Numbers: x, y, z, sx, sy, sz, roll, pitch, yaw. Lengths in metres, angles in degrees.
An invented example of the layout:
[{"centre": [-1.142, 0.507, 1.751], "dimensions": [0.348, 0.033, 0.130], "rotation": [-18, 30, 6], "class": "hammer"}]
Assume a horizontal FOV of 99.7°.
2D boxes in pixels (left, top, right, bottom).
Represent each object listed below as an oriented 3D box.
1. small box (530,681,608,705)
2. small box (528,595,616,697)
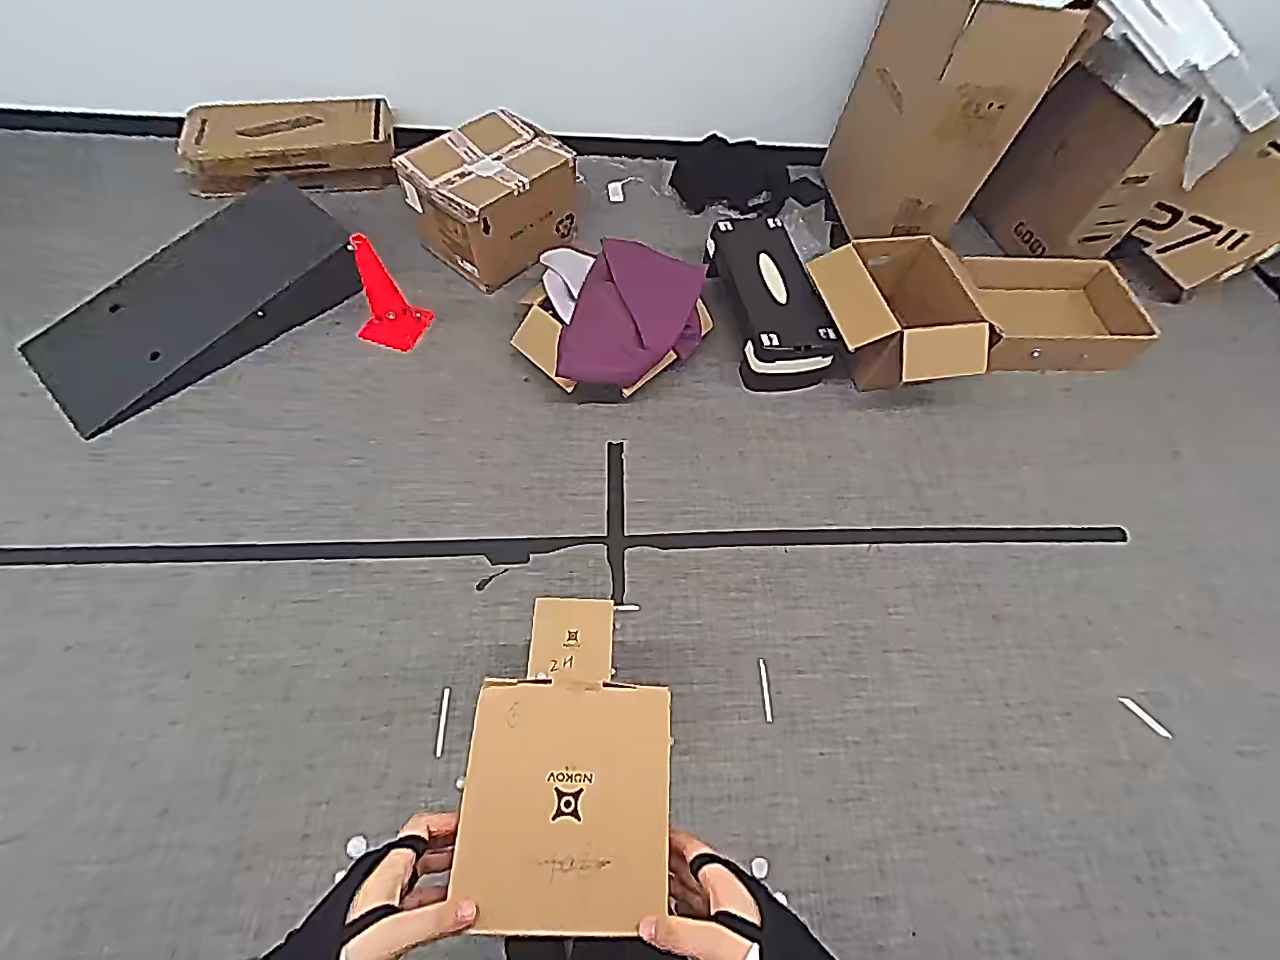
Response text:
[{"centre": [-0.161, 0.443, 1.301], "dimensions": [0.179, 0.176, 0.168], "rotation": [3, 61, -4], "class": "small box"}, {"centre": [-0.142, 0.359, 1.160], "dimensions": [0.168, 0.176, 0.179], "rotation": [3, 61, -3], "class": "small box"}]
